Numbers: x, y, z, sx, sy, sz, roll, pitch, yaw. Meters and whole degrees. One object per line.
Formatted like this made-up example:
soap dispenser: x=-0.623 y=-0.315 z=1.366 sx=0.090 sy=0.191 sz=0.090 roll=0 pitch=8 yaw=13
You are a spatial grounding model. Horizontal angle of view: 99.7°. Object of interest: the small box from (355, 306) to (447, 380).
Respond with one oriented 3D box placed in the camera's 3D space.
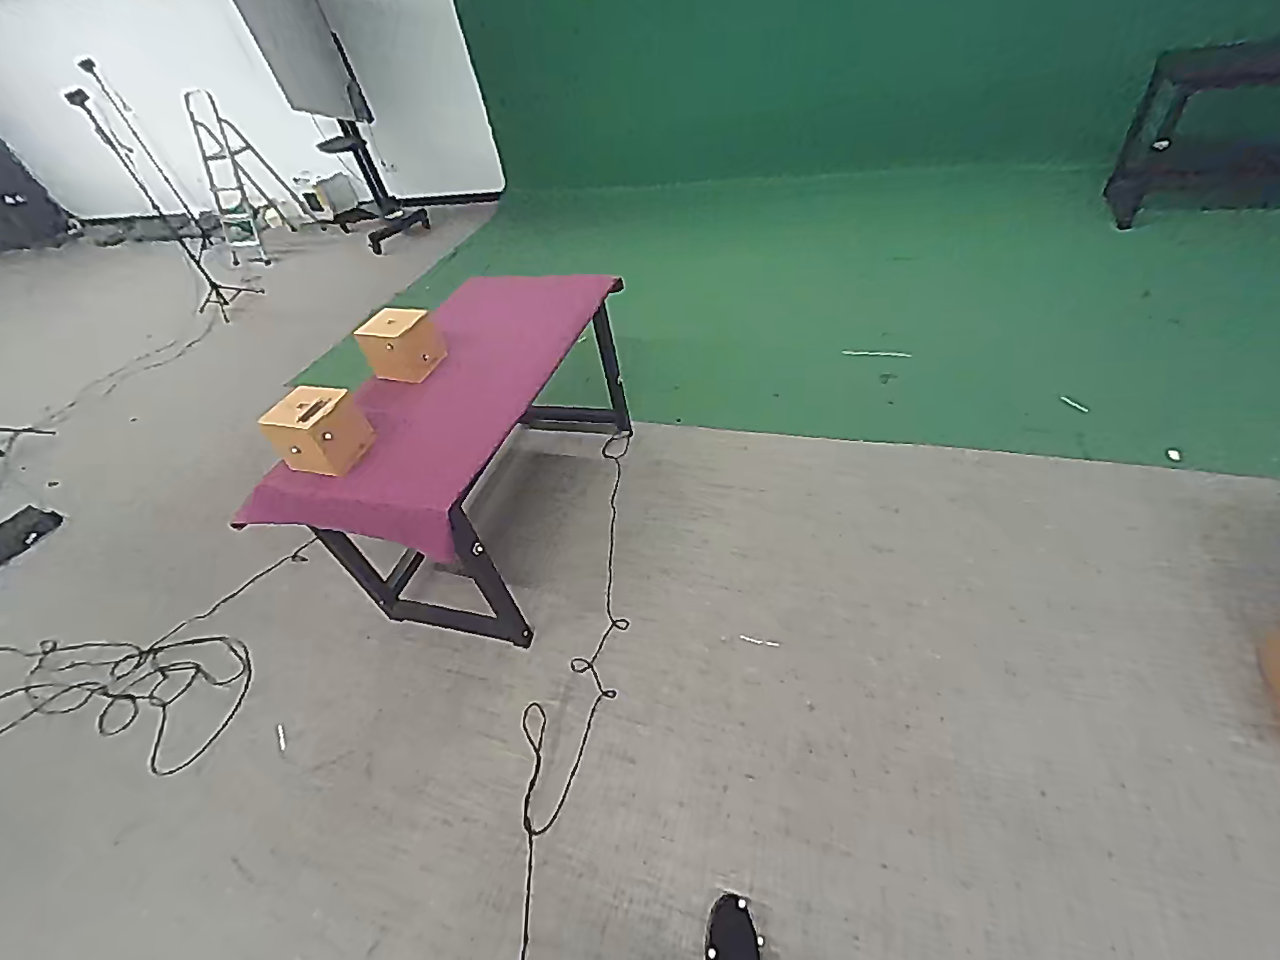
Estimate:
small box: x=-0.759 y=-0.439 z=1.735 sx=0.179 sy=0.176 sz=0.168 roll=10 pitch=48 yaw=18
